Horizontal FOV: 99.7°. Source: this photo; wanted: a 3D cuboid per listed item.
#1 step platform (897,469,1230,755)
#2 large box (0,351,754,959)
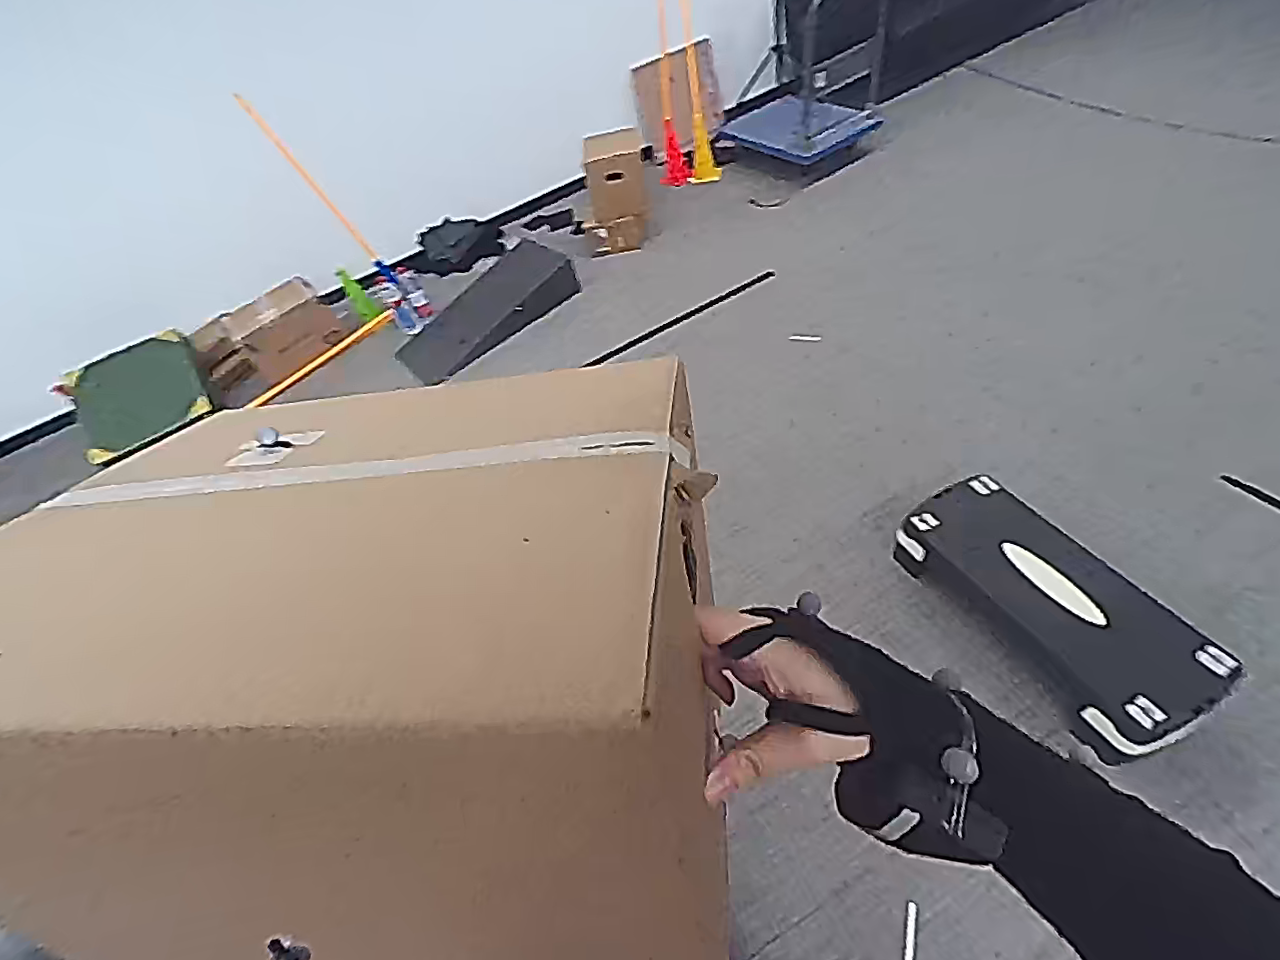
[{"bbox_3d":[0.964,0.277,1.328,0.286,0.204,0.684,-25,47,-4],"label":"step platform"},{"bbox_3d":[-0.142,0.131,0.386,0.408,0.320,0.320,-6,30,11],"label":"large box"}]
